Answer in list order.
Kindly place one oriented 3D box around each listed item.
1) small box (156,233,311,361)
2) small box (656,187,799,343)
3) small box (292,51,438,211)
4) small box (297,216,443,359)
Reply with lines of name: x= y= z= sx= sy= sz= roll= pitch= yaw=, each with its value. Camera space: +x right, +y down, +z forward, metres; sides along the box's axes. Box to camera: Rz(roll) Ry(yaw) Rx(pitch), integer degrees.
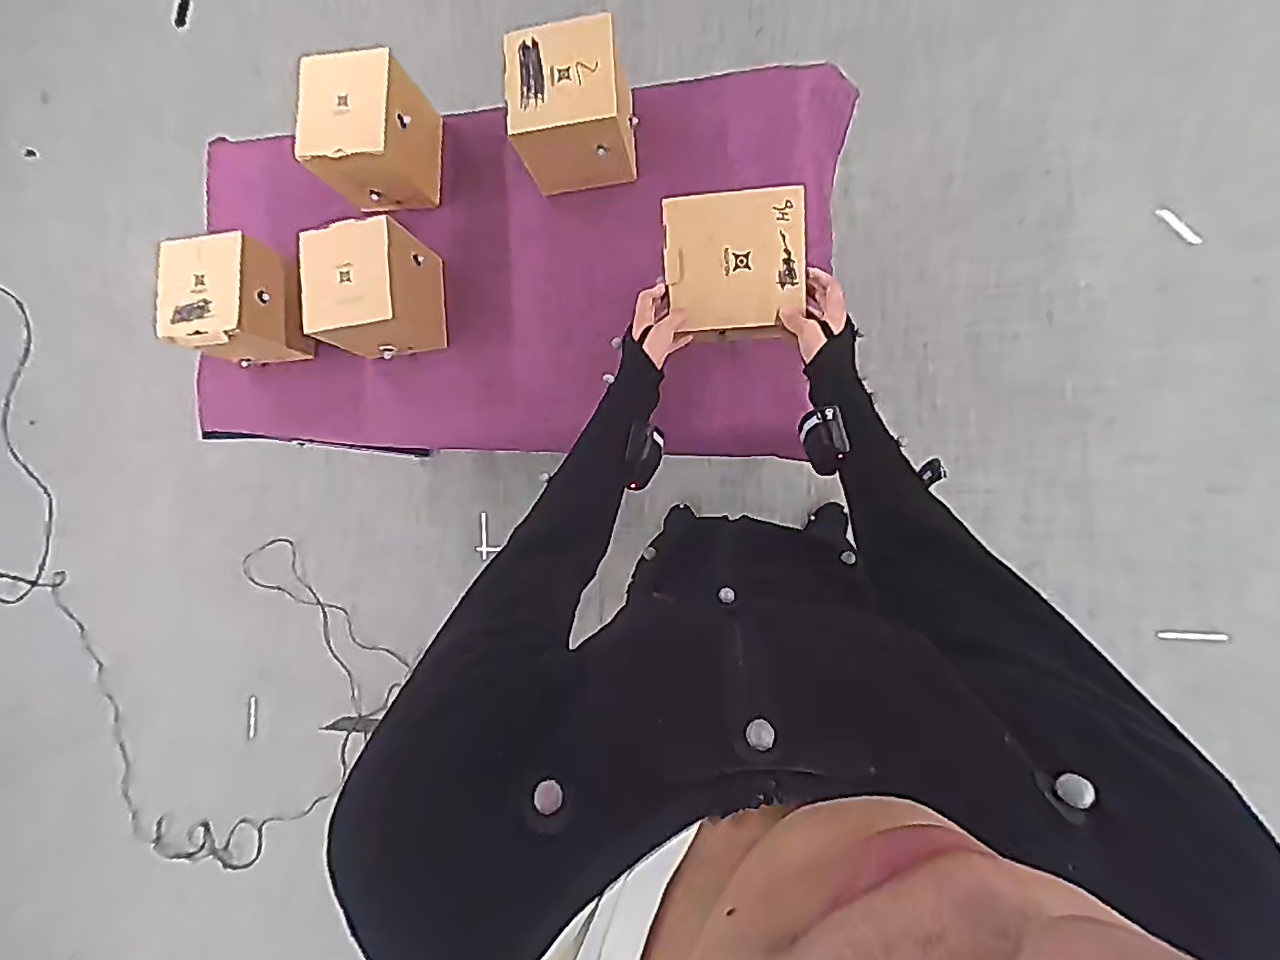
small box: x=-0.738 y=-0.325 z=0.999 sx=0.168 sy=0.176 sz=0.179 roll=-2 pitch=86 yaw=9
small box: x=0.119 y=-0.286 z=0.756 sx=0.179 sy=0.176 sz=0.168 roll=-2 pitch=99 yaw=6
small box: x=-0.478 y=-0.611 z=0.964 sx=0.168 sy=0.176 sz=0.179 roll=2 pitch=89 yaw=9
small box: x=-0.468 y=-0.328 z=0.955 sx=0.168 sy=0.176 sz=0.179 roll=-6 pitch=87 yaw=10
